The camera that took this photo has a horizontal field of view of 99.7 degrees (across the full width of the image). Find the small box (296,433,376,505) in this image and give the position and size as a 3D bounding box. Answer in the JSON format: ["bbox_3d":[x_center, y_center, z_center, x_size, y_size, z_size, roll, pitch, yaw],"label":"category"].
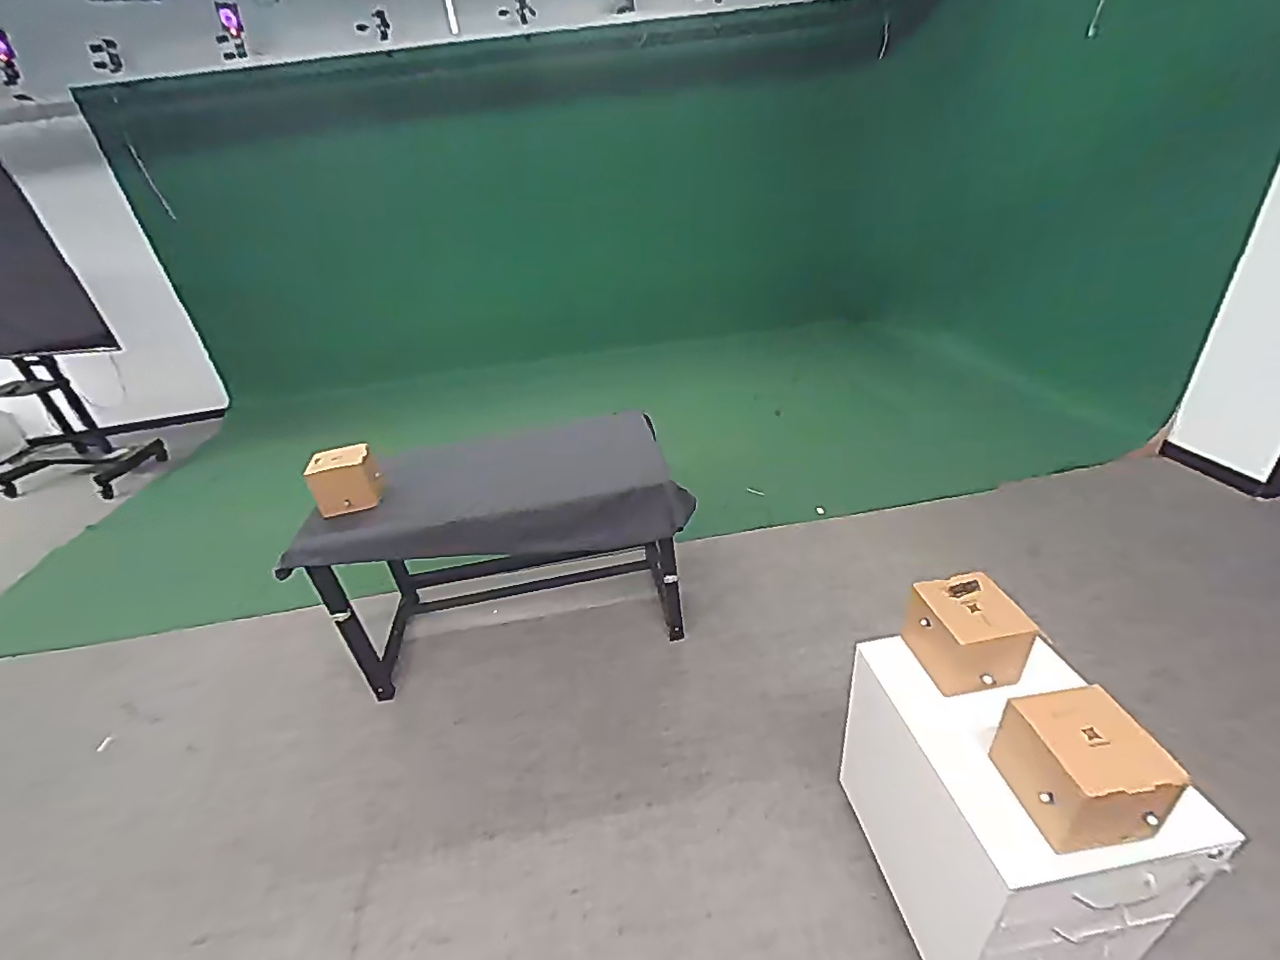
[{"bbox_3d":[-1.000,-0.037,1.799,0.179,0.176,0.168,-12,31,-12],"label":"small box"}]

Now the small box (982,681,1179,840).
[{"bbox_3d":[0.722,0.475,0.912,0.168,0.176,0.179,-7,30,-3],"label":"small box"}]

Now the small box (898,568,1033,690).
[{"bbox_3d":[0.685,0.320,1.165,0.168,0.176,0.179,-9,34,-4],"label":"small box"}]
